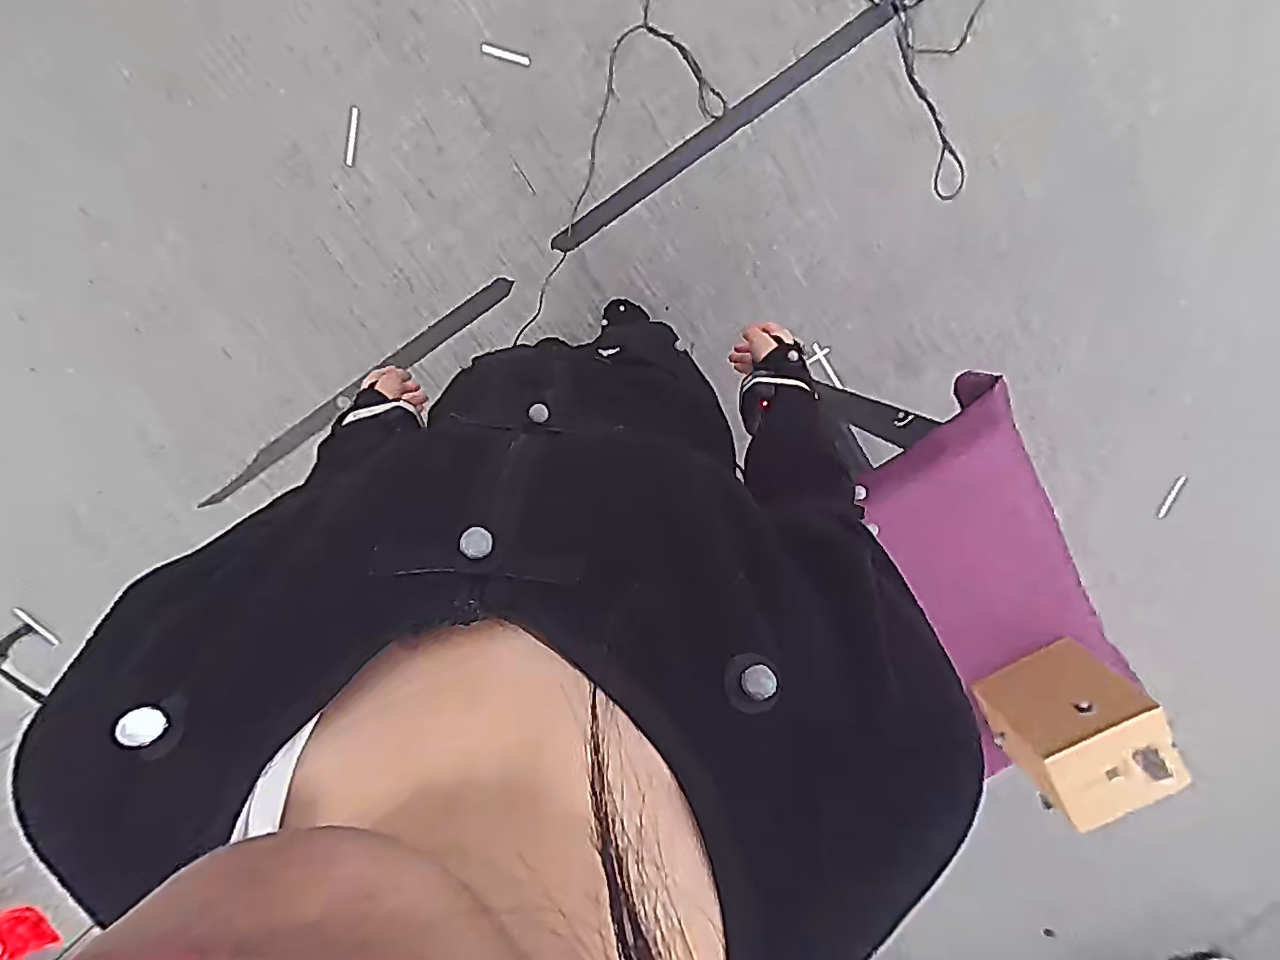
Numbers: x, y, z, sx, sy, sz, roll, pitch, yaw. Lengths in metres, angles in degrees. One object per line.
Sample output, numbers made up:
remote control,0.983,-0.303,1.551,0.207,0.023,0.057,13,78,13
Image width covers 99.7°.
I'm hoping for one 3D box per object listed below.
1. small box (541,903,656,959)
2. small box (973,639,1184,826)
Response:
small box,-0.073,0.912,0.964,0.179,0.176,0.168,-33,106,7
small box,0.678,0.387,0.854,0.179,0.176,0.168,-31,106,7
